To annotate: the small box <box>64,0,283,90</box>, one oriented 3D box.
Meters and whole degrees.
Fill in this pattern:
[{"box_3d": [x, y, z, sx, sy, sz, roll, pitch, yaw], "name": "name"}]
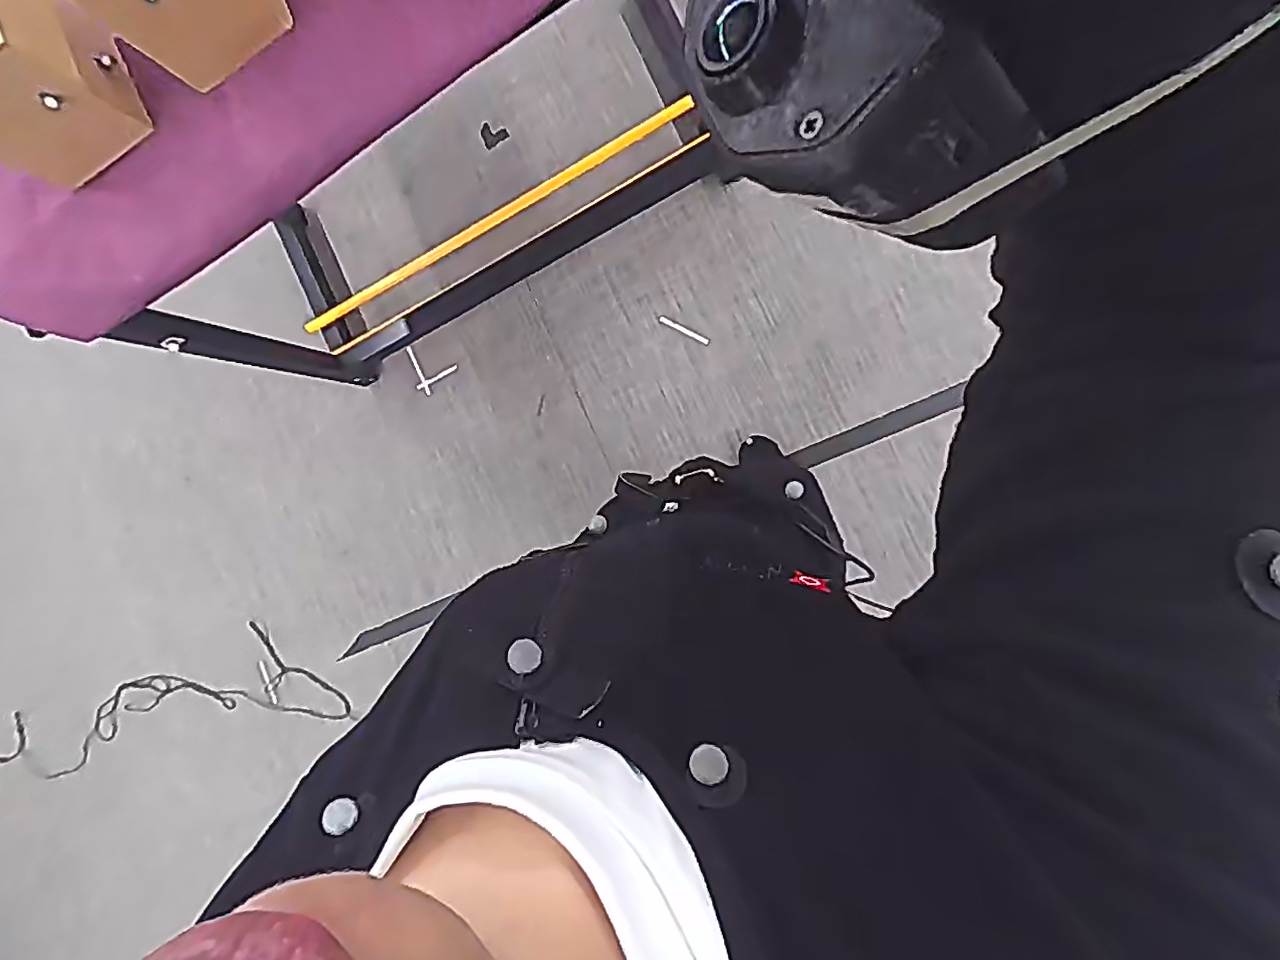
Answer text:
[{"box_3d": [-0.591, -0.652, 0.677, 0.179, 0.176, 0.168, -25, 86, 12], "name": "small box"}]
